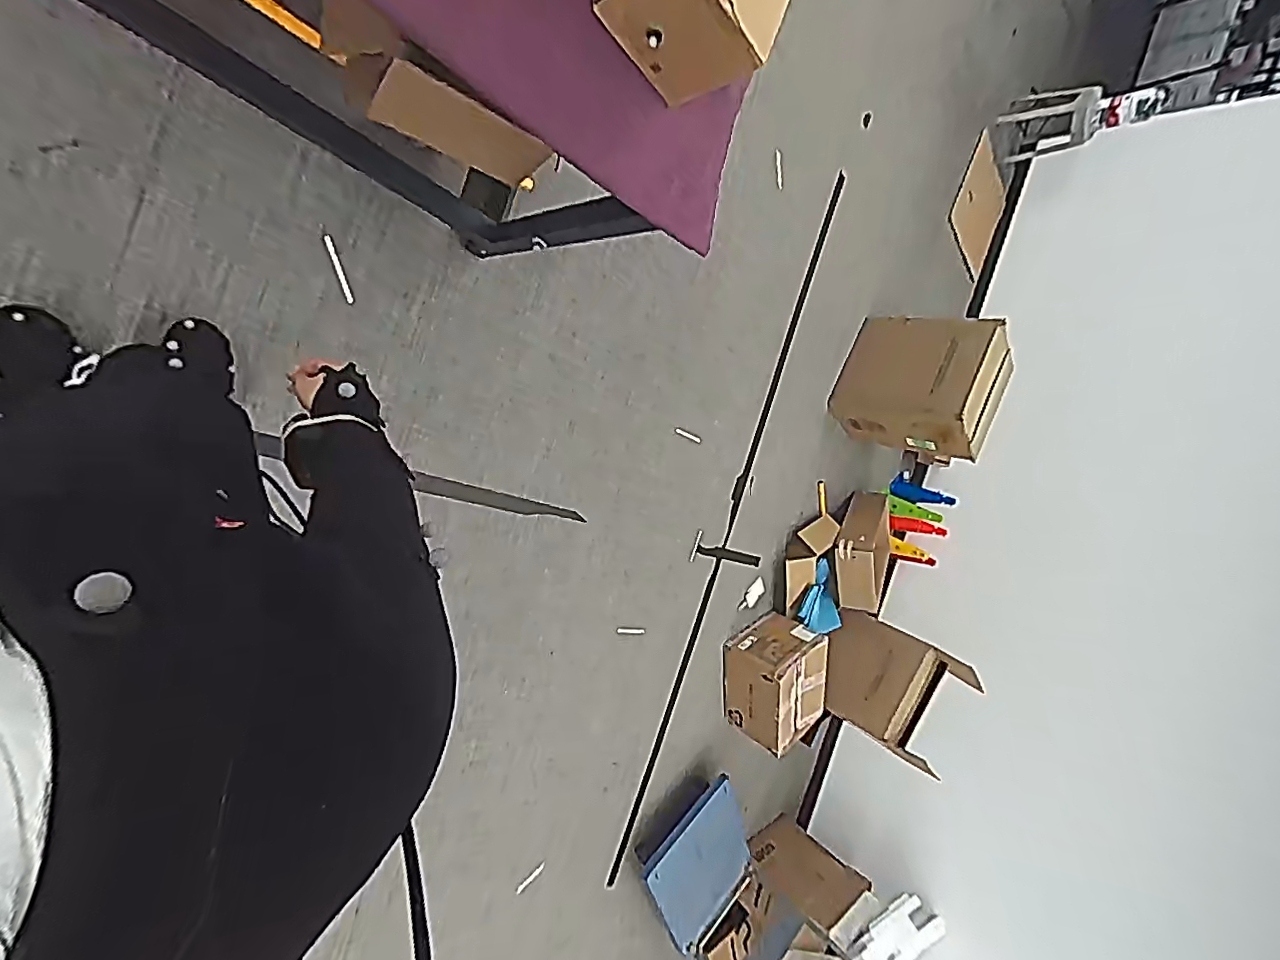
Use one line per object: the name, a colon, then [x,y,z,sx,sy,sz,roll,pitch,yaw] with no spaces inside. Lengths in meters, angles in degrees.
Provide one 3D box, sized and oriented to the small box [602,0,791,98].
small box: [0.078,-0.634,0.677,0.168,0.176,0.179,23,86,-45]
